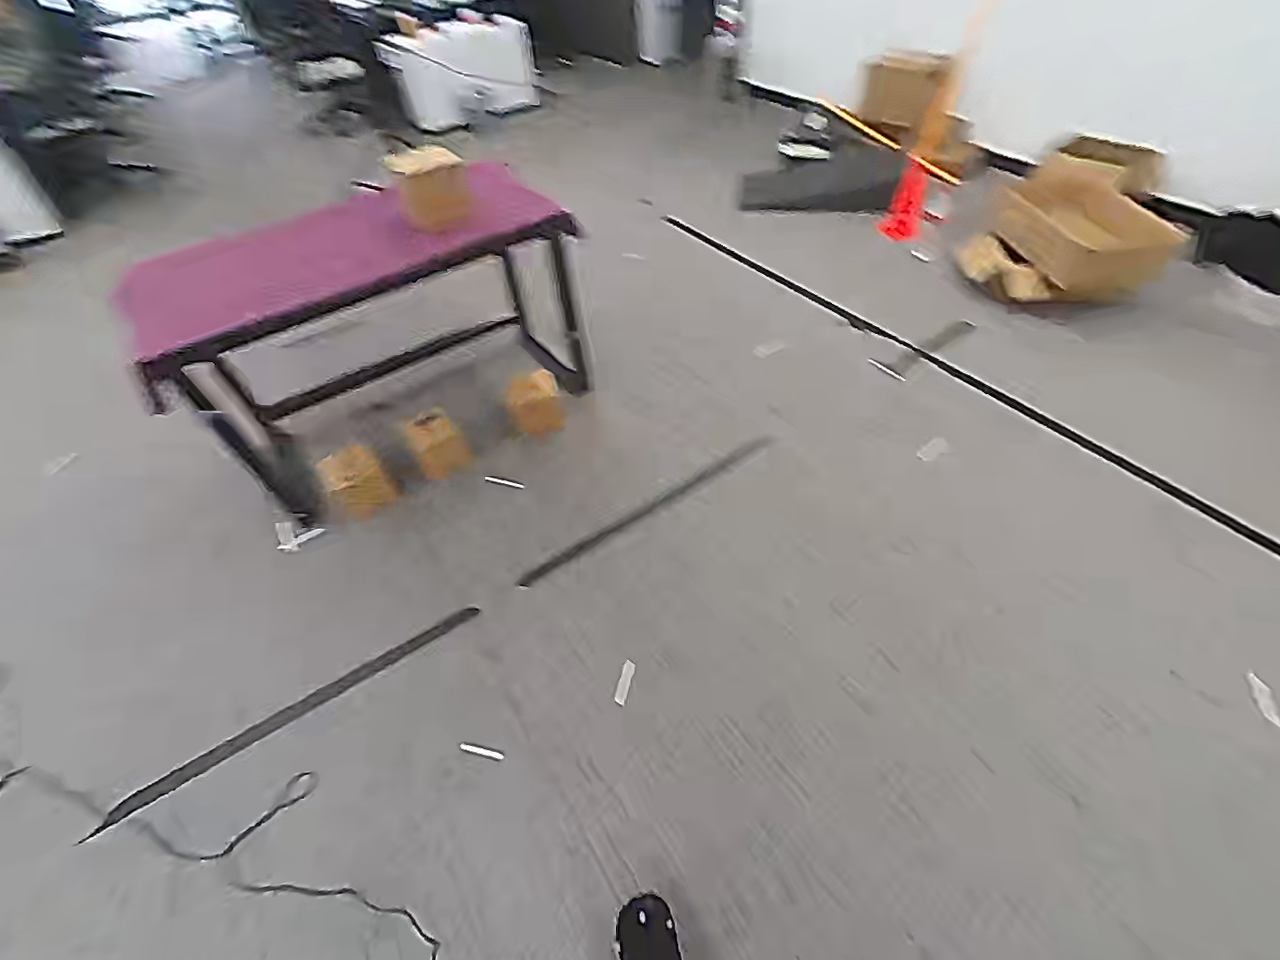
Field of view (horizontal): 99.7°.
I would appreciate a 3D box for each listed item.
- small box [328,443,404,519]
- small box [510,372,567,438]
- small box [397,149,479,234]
[{"bbox_3d":[-0.961,0.005,1.903,0.168,0.176,0.179,-28,52,-18],"label":"small box"},{"bbox_3d":[-0.390,-0.290,2.106,0.179,0.176,0.168,-16,50,-7],"label":"small box"},{"bbox_3d":[-0.620,-0.896,1.682,0.179,0.176,0.168,-28,52,-17],"label":"small box"}]
